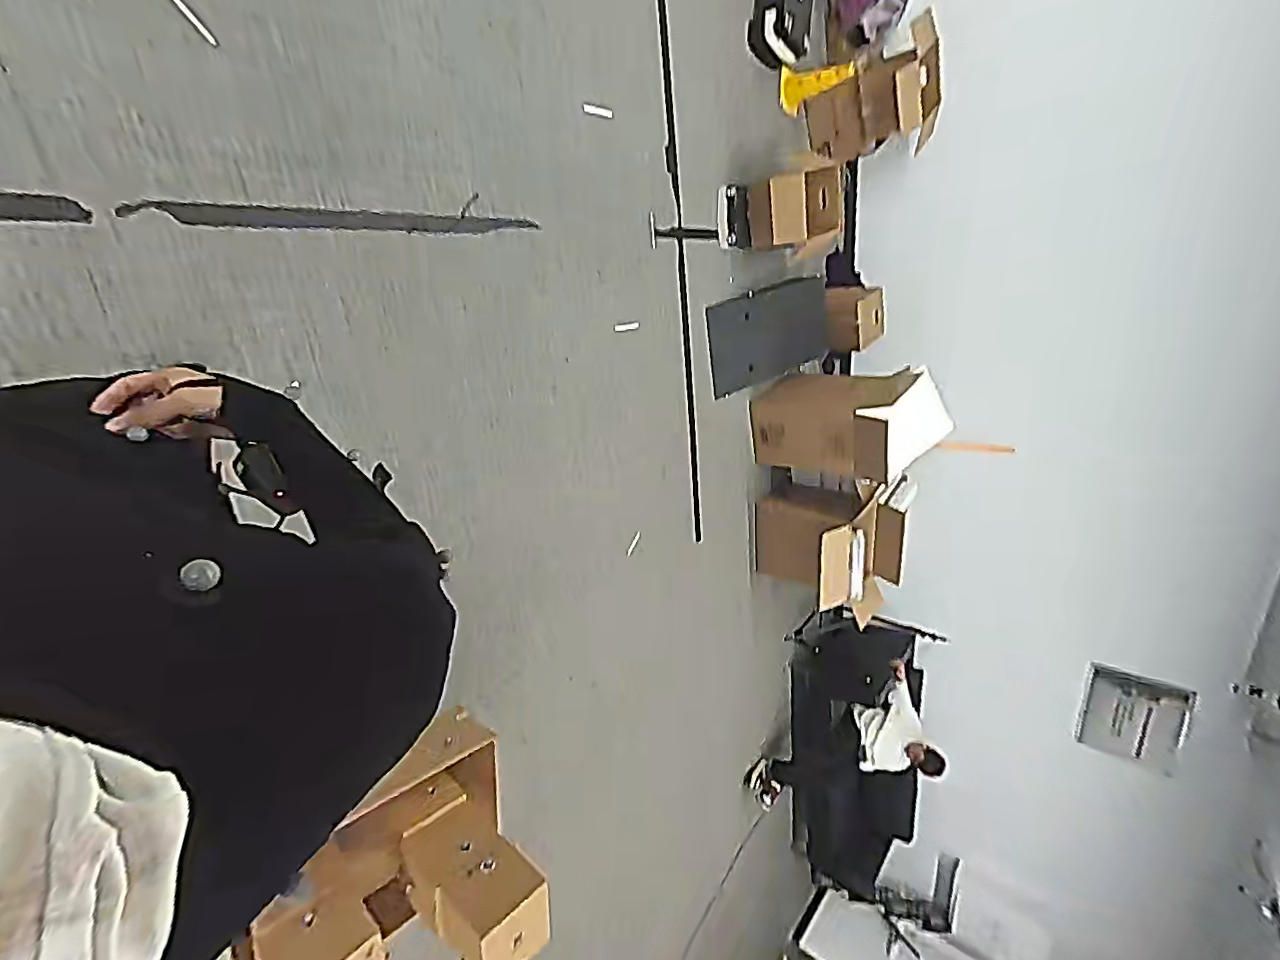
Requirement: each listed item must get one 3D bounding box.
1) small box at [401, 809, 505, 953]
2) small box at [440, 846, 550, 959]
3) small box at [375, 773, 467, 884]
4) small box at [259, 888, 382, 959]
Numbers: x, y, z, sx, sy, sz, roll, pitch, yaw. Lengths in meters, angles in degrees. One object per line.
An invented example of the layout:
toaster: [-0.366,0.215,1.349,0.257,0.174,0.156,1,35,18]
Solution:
small box: [-0.437,0.924,1.269,0.179,0.176,0.168,-12,109,-46]
small box: [-0.312,0.951,1.166,0.168,0.176,0.179,-16,113,-46]
small box: [-0.555,0.887,1.378,0.168,0.176,0.179,-14,111,-45]
small box: [-0.624,0.971,1.061,0.179,0.176,0.168,-16,111,-46]
